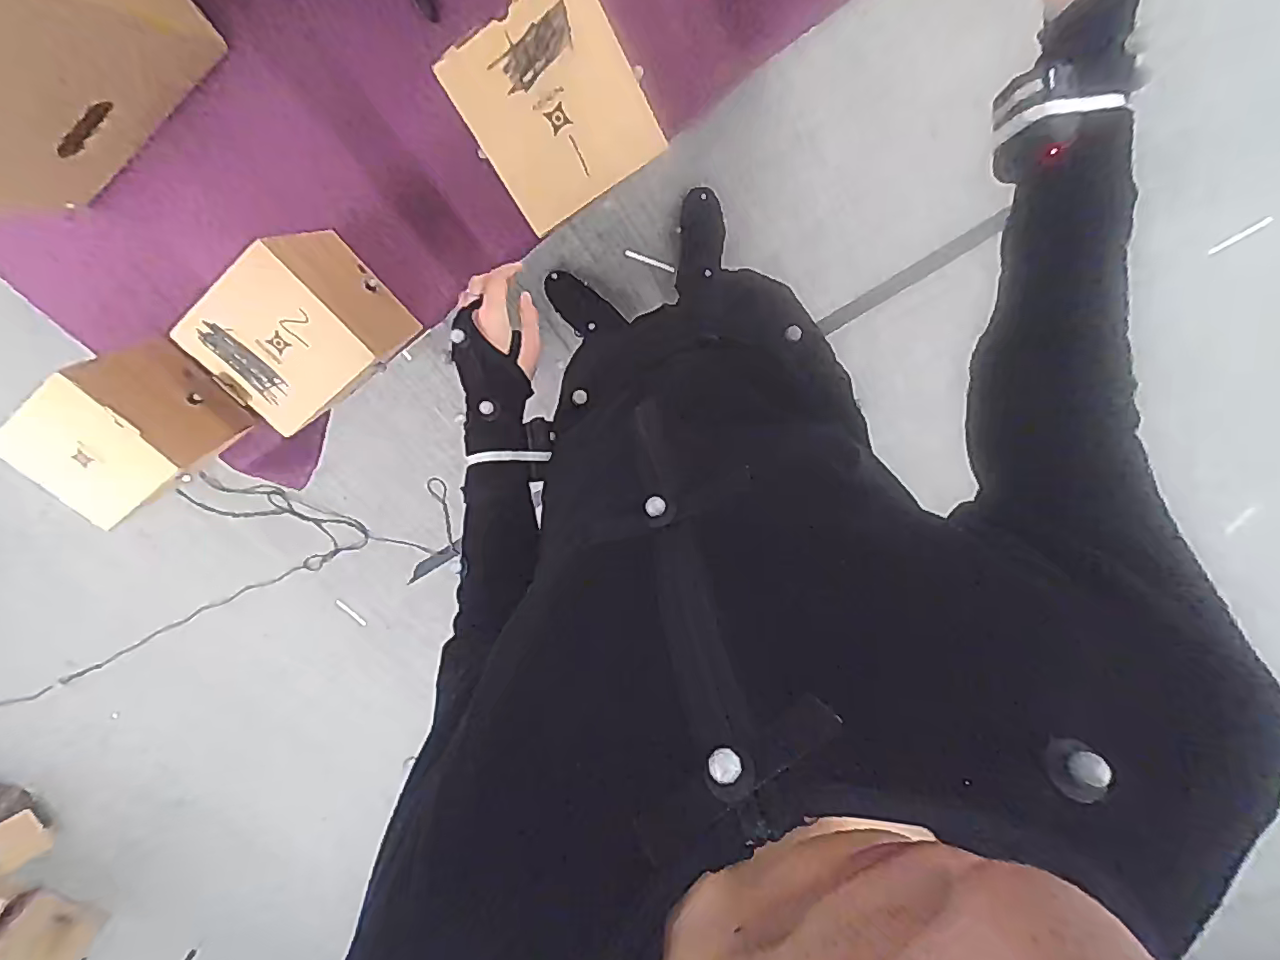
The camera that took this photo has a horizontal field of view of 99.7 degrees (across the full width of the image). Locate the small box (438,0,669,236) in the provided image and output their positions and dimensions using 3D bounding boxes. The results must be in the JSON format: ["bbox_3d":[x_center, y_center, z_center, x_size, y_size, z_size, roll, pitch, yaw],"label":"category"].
[{"bbox_3d":[-0.083,-0.400,0.601,0.168,0.176,0.179,-28,116,14],"label":"small box"}]

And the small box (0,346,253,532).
[{"bbox_3d":[-0.715,-0.064,0.776,0.179,0.176,0.168,-32,114,15],"label":"small box"}]
